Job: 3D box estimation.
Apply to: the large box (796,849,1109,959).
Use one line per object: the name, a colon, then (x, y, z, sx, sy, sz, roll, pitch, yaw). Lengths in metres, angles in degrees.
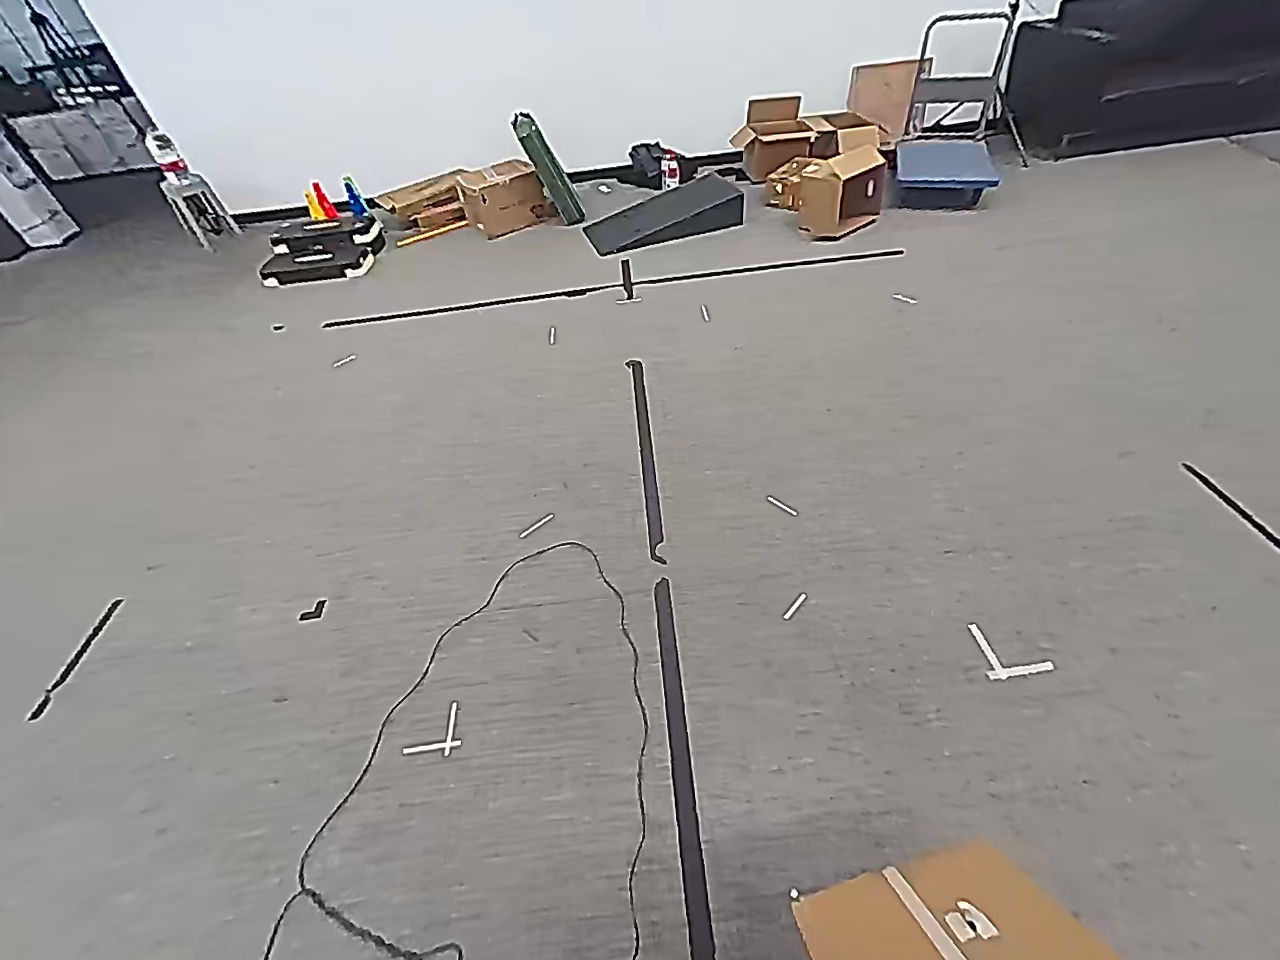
large box: (0.427, 0.729, 0.608, 0.320, 0.408, 0.320, -16, 85, -2)
